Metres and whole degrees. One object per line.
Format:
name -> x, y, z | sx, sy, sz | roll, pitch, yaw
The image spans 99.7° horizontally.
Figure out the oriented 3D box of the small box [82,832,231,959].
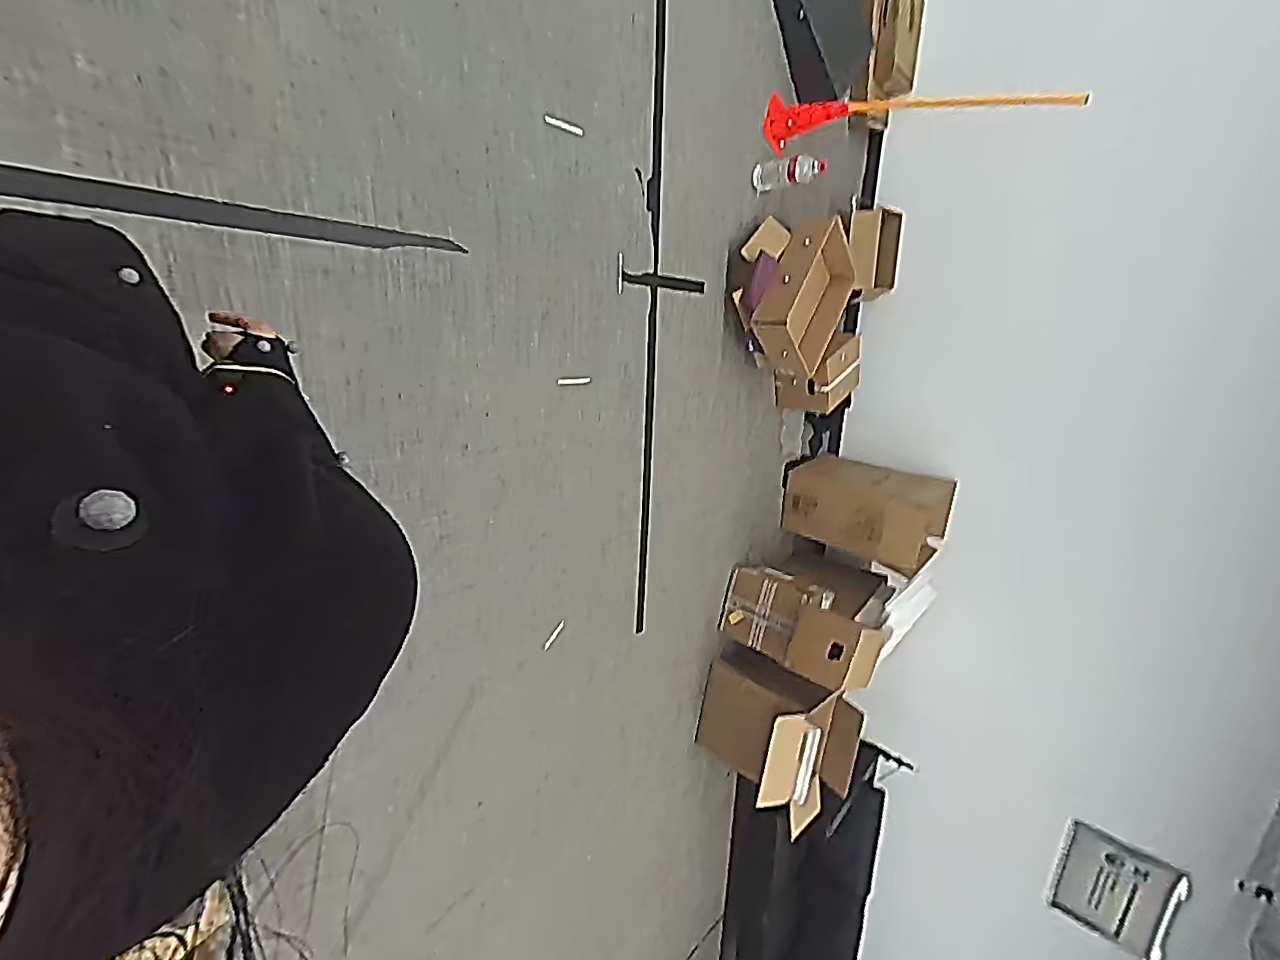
small box -> -0.983, 0.873, 1.103 | 0.168, 0.176, 0.179 | -33, 125, -41
